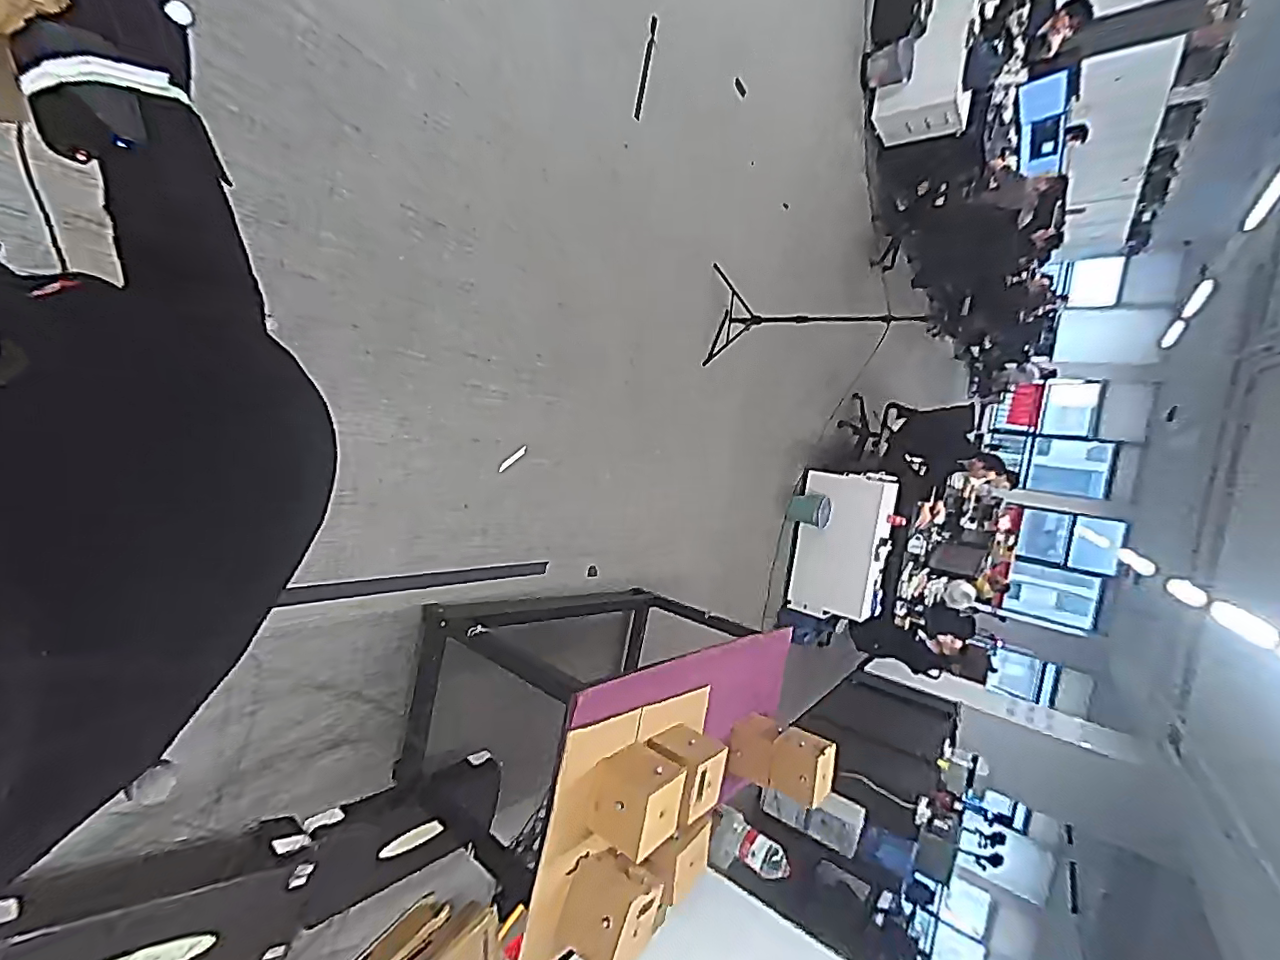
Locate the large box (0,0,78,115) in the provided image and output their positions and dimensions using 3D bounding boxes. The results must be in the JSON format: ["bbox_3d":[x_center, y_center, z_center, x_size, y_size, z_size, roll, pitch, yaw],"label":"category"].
[{"bbox_3d":[-0.613,-0.415,0.250,0.408,0.320,0.320,-22,121,-49],"label":"large box"}]
